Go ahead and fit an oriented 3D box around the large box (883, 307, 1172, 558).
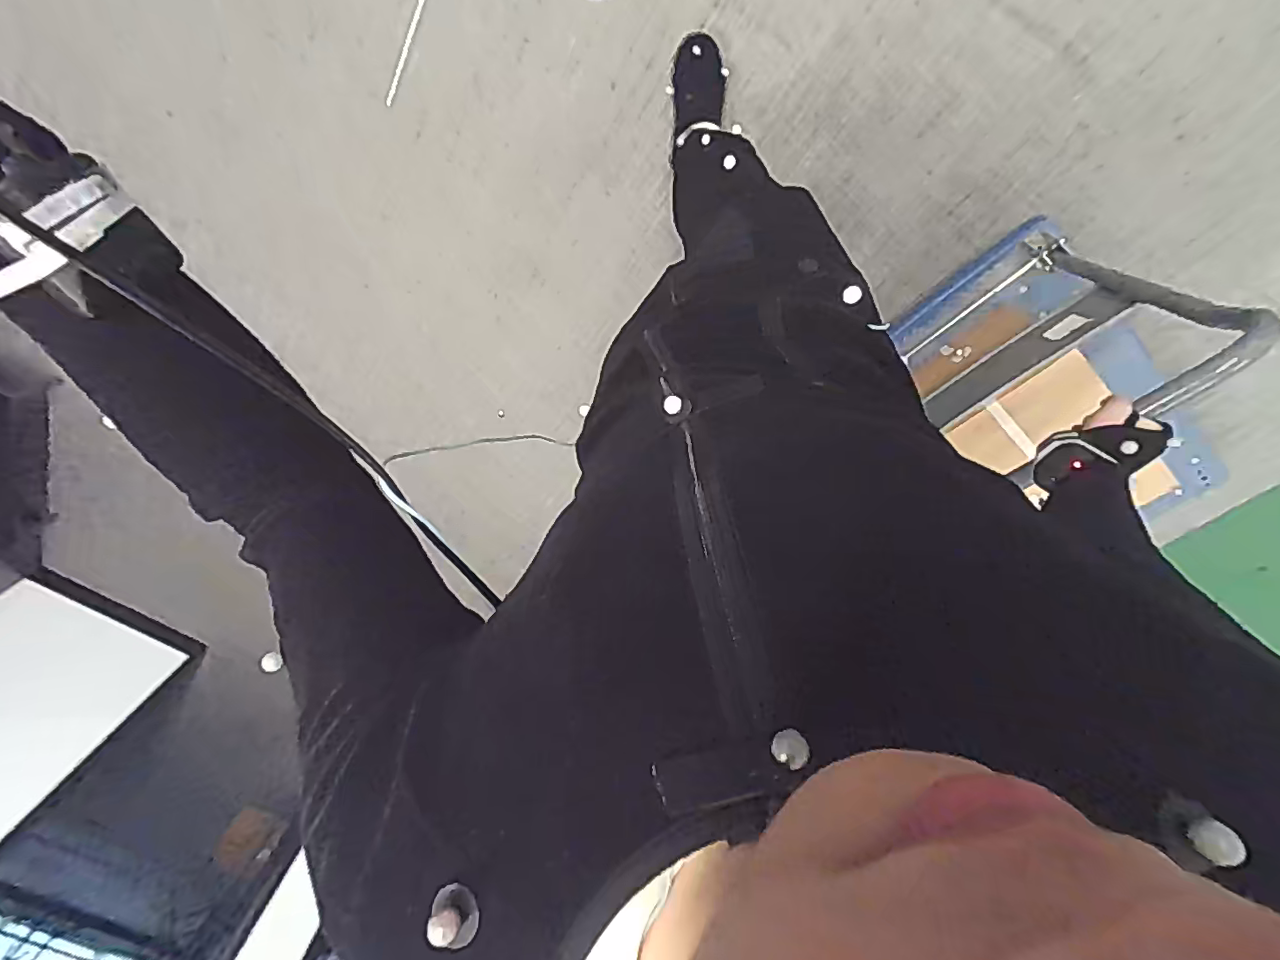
[{"bbox_3d":[0.830,-0.110,1.215,0.408,0.320,0.320,40,121,-16],"label":"large box"}]
